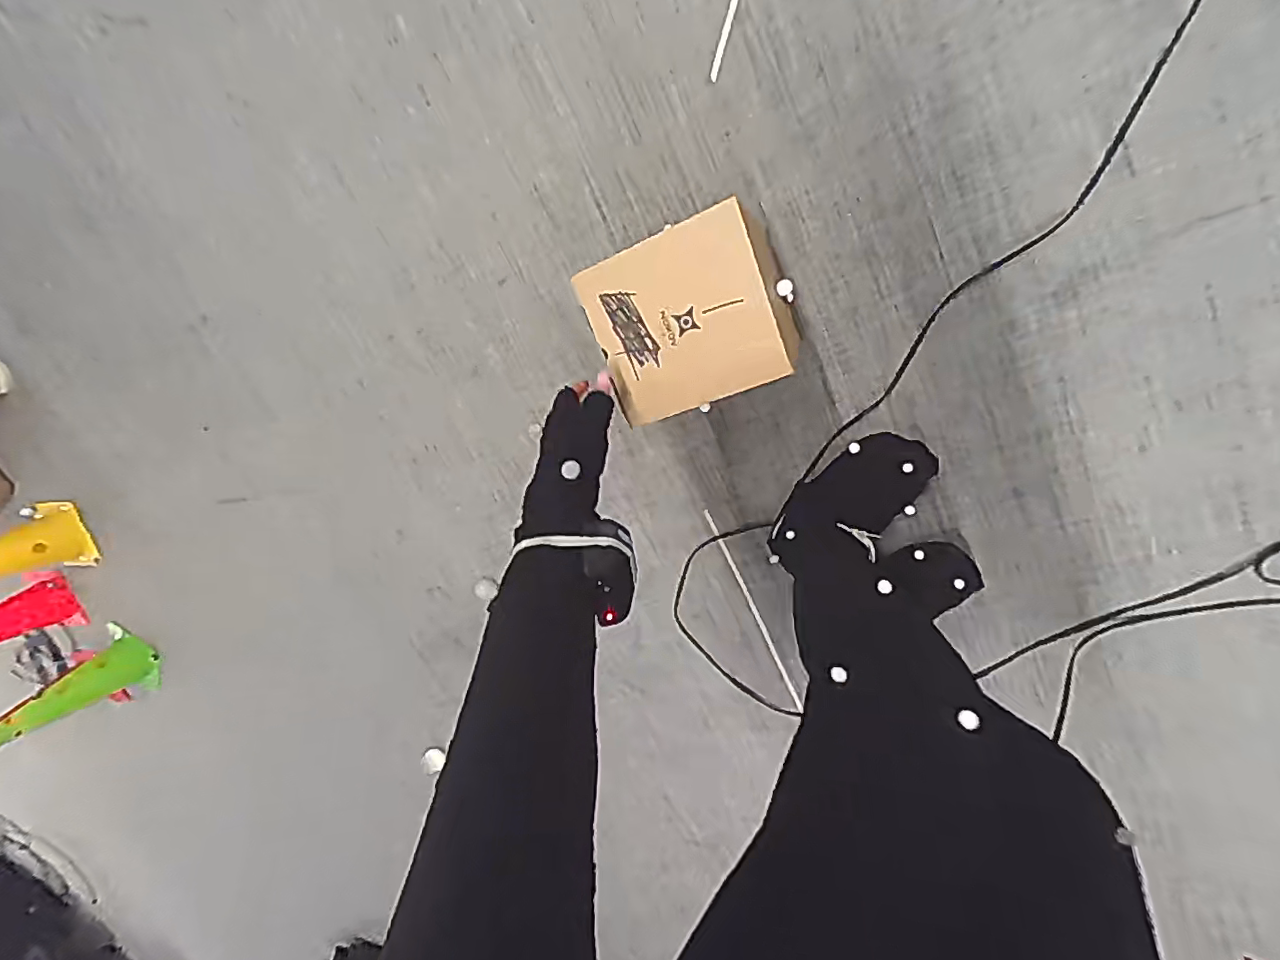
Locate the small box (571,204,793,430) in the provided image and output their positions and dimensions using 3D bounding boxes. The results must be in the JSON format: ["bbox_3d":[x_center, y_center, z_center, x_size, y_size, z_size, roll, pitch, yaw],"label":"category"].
[{"bbox_3d":[0.058,-0.172,0.589,0.179,0.176,0.168,-17,105,22],"label":"small box"}]
